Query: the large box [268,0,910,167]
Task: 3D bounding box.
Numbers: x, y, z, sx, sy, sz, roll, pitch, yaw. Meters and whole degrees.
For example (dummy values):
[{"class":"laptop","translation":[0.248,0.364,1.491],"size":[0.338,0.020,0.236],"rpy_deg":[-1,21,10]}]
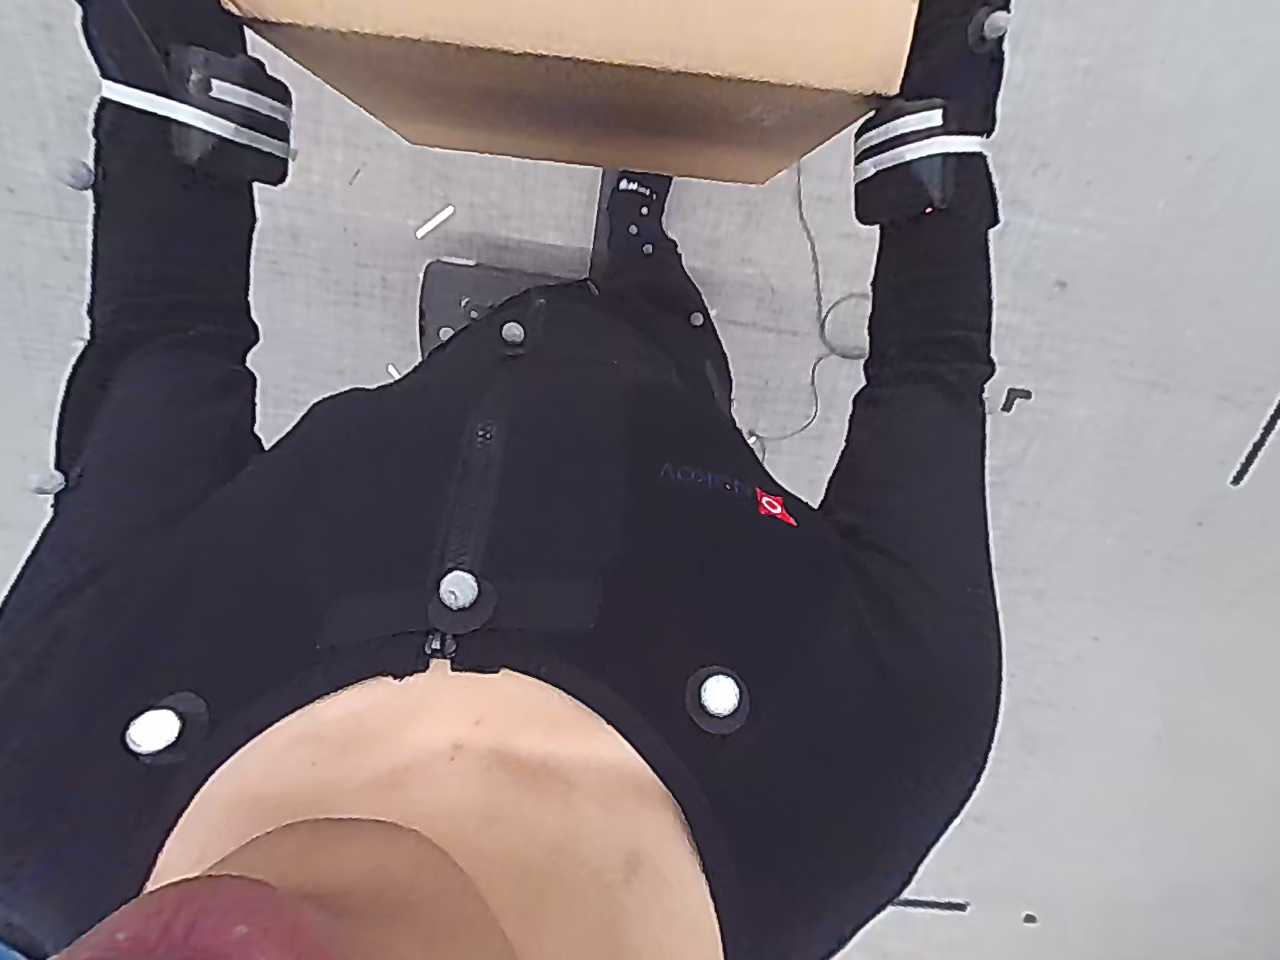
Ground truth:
[{"class":"large box","translation":[-0.030,-0.467,0.428],"size":[0.408,0.320,0.320],"rpy_deg":[3,110,-5]}]
